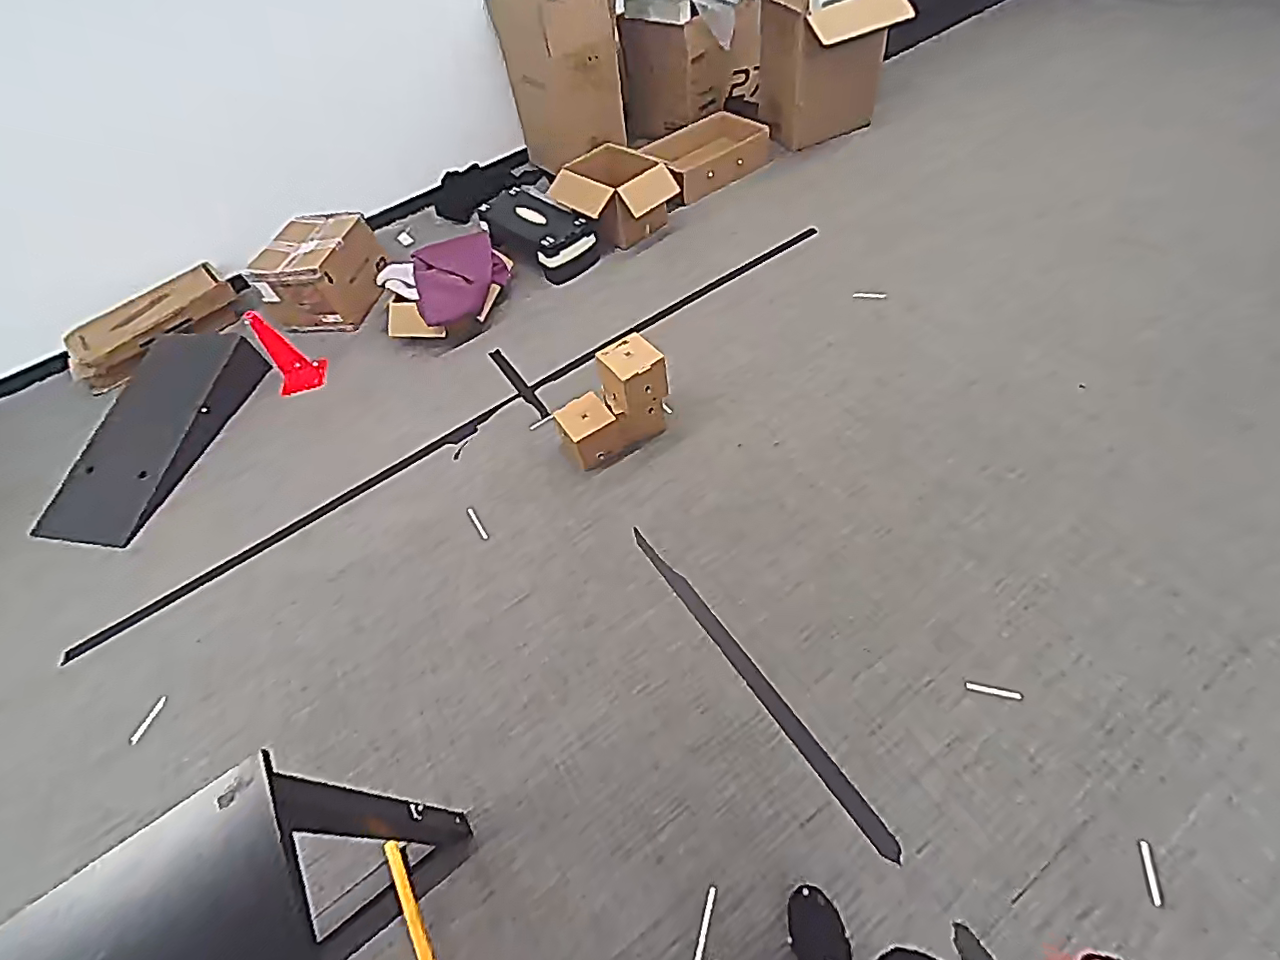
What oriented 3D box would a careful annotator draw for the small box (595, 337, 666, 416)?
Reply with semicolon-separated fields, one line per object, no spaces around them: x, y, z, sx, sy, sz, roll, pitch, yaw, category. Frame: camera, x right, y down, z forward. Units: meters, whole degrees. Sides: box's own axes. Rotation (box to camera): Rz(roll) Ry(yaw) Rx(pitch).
-0.027;-0.340;1.821;0.168;0.176;0.179;-32;56;-14;small box
